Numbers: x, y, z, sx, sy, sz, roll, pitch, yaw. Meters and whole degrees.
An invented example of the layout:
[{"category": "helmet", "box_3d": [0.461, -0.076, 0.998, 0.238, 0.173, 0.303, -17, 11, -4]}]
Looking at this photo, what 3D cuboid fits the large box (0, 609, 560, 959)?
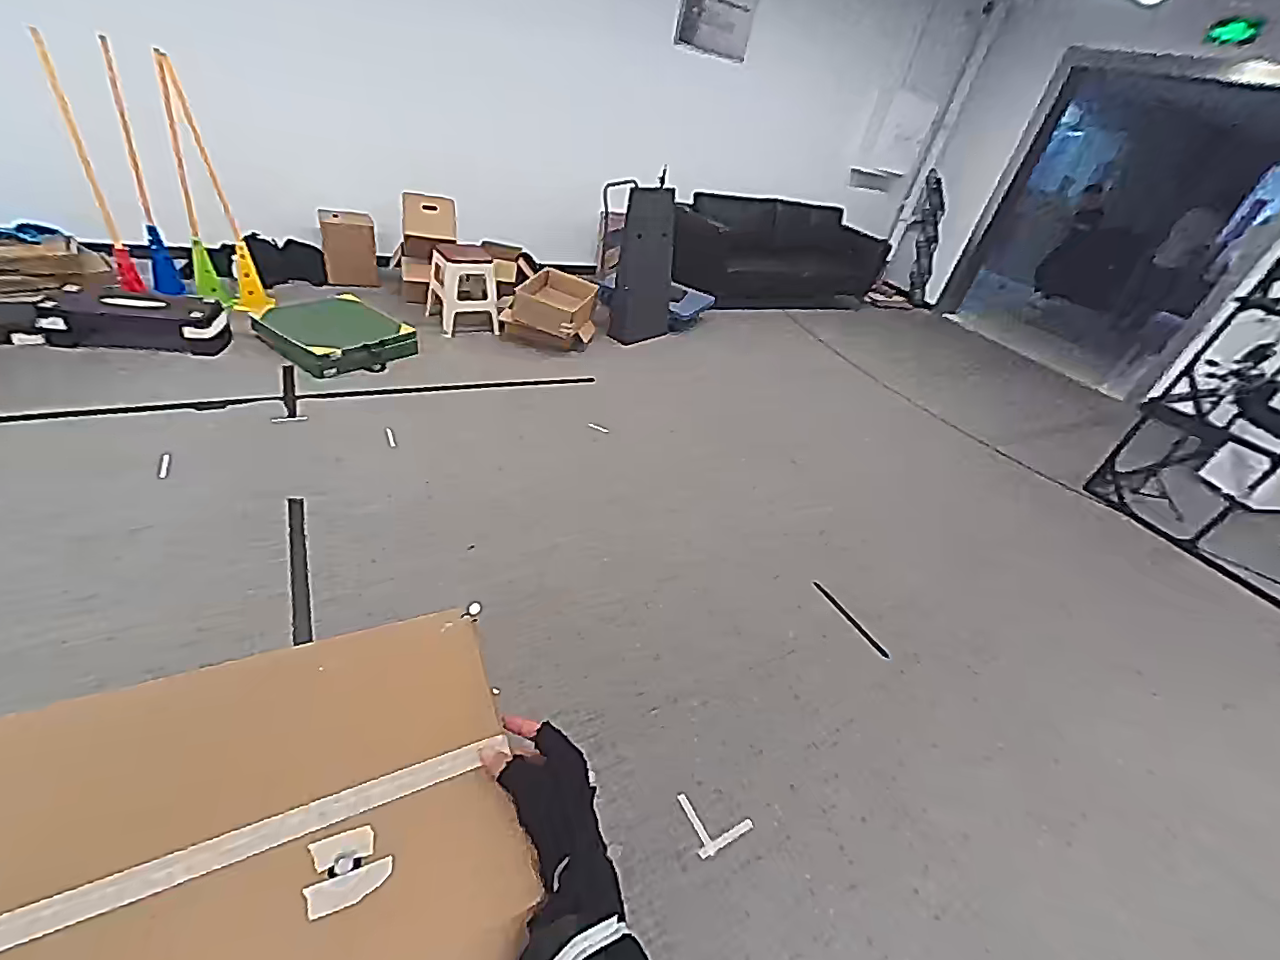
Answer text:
[{"category": "large box", "box_3d": [-0.336, 0.381, 0.522, 0.408, 0.320, 0.320, -8, 50, -29]}]
